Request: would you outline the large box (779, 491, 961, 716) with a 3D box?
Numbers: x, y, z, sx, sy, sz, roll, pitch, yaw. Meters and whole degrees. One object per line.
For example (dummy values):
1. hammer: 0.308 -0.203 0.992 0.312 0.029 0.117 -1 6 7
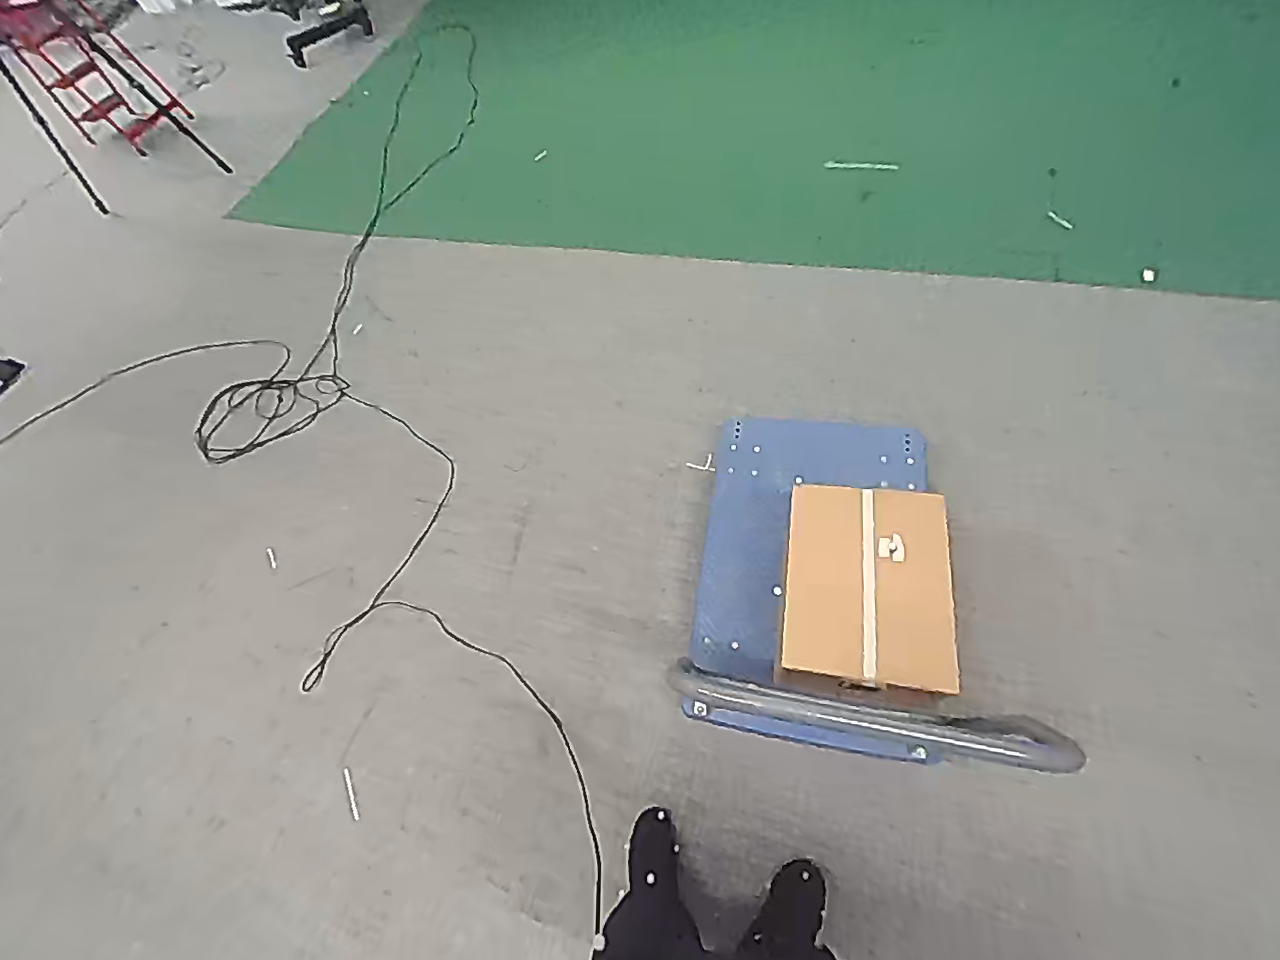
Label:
1. large box: 0.484 0.281 1.218 0.320 0.320 0.408 5 62 13
